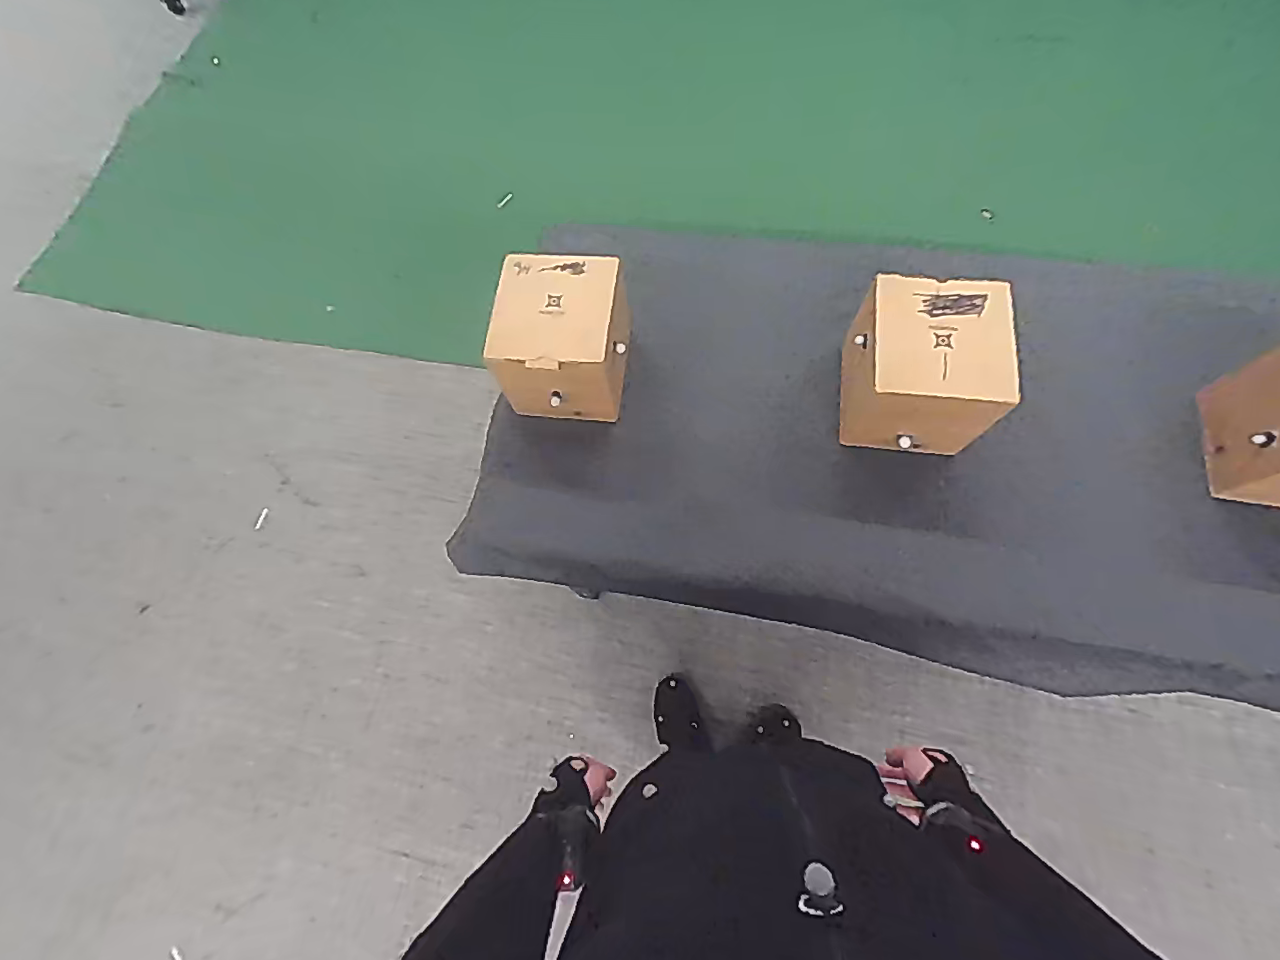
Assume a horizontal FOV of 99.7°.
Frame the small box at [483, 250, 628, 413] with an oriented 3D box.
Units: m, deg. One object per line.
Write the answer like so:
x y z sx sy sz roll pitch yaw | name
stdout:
-0.113 -0.213 0.807 0.168 0.176 0.179 5 72 6 | small box

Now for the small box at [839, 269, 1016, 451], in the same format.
0.380 -0.158 0.743 0.168 0.176 0.179 7 73 8 | small box

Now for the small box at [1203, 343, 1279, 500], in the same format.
0.859 -0.071 0.669 0.179 0.176 0.168 10 73 8 | small box
